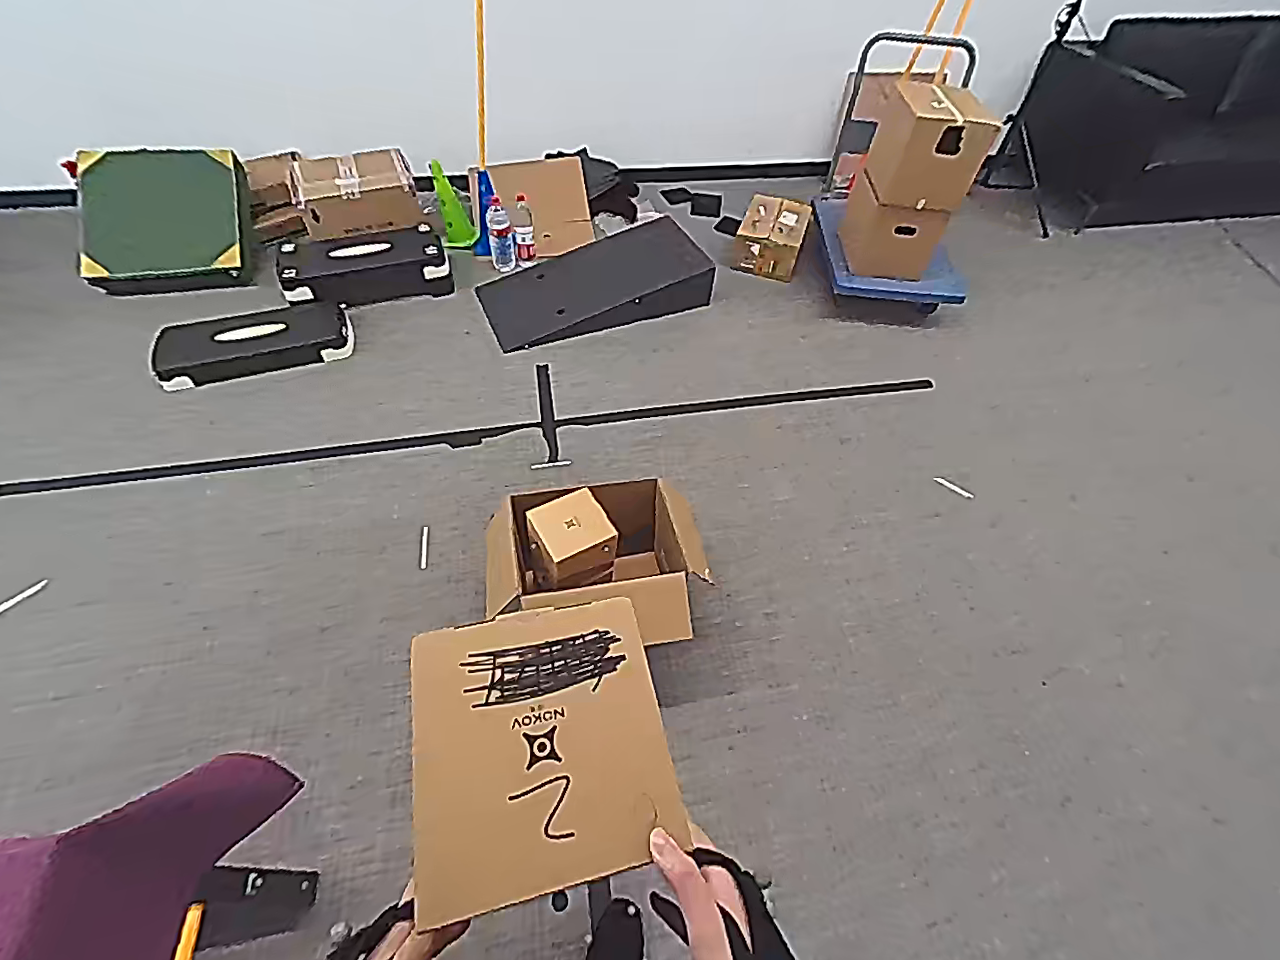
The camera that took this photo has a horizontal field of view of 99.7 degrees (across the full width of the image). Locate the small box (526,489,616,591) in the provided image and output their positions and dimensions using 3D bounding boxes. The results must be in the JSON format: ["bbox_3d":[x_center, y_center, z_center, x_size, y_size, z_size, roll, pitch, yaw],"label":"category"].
[{"bbox_3d":[-0.180,0.160,1.400,0.179,0.176,0.168,-23,59,-25],"label":"small box"}]
